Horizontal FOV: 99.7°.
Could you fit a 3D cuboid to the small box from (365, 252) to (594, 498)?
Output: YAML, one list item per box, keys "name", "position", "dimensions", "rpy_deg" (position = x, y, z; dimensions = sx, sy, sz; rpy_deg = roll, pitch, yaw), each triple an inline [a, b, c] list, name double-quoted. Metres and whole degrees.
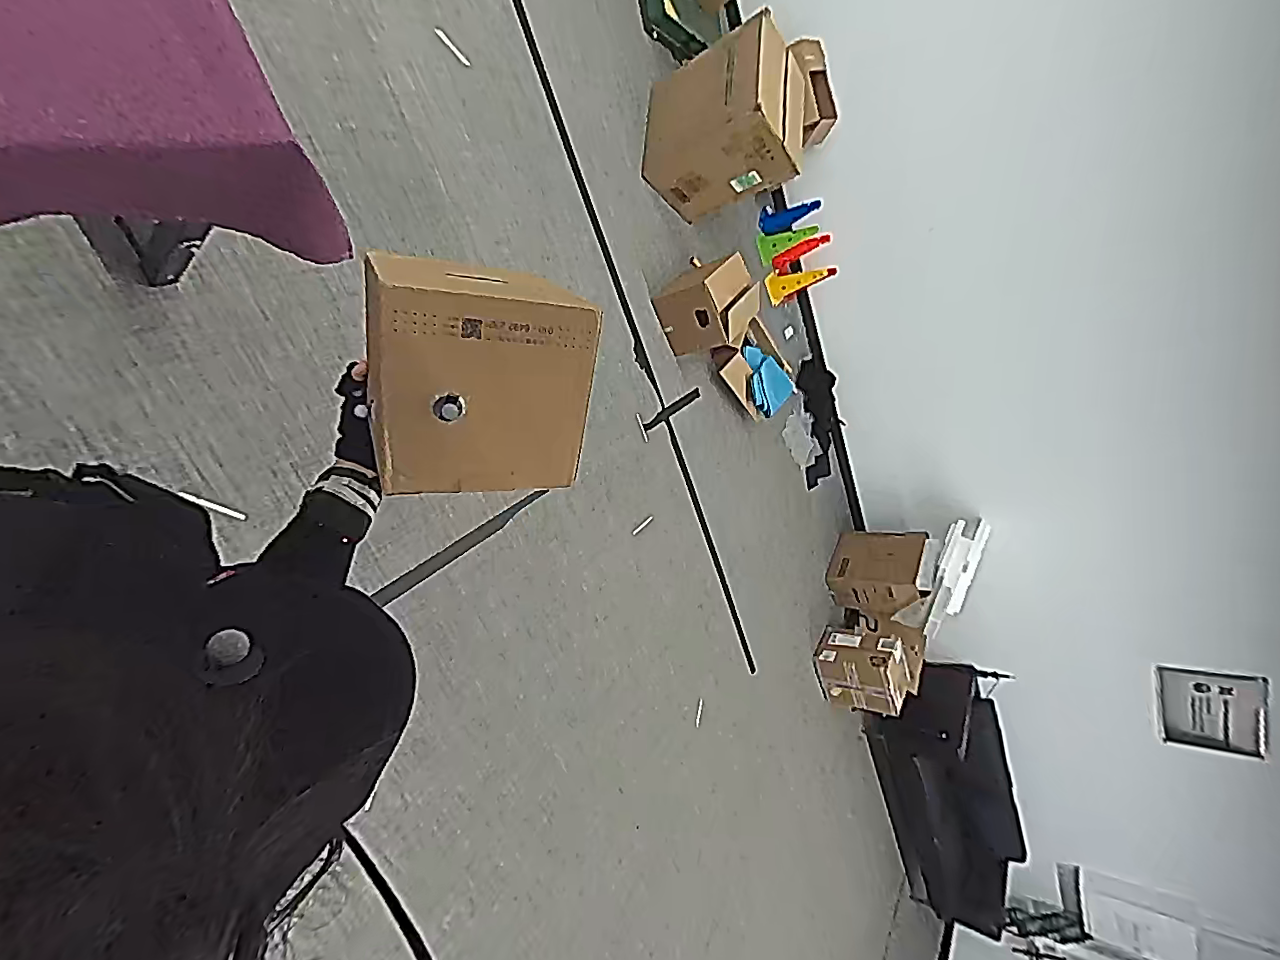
- name: "small box"
  position: [-0.152, -0.101, 0.491]
  dimensions: [0.168, 0.179, 0.176]
  rpy_deg: [-1, 118, -31]
